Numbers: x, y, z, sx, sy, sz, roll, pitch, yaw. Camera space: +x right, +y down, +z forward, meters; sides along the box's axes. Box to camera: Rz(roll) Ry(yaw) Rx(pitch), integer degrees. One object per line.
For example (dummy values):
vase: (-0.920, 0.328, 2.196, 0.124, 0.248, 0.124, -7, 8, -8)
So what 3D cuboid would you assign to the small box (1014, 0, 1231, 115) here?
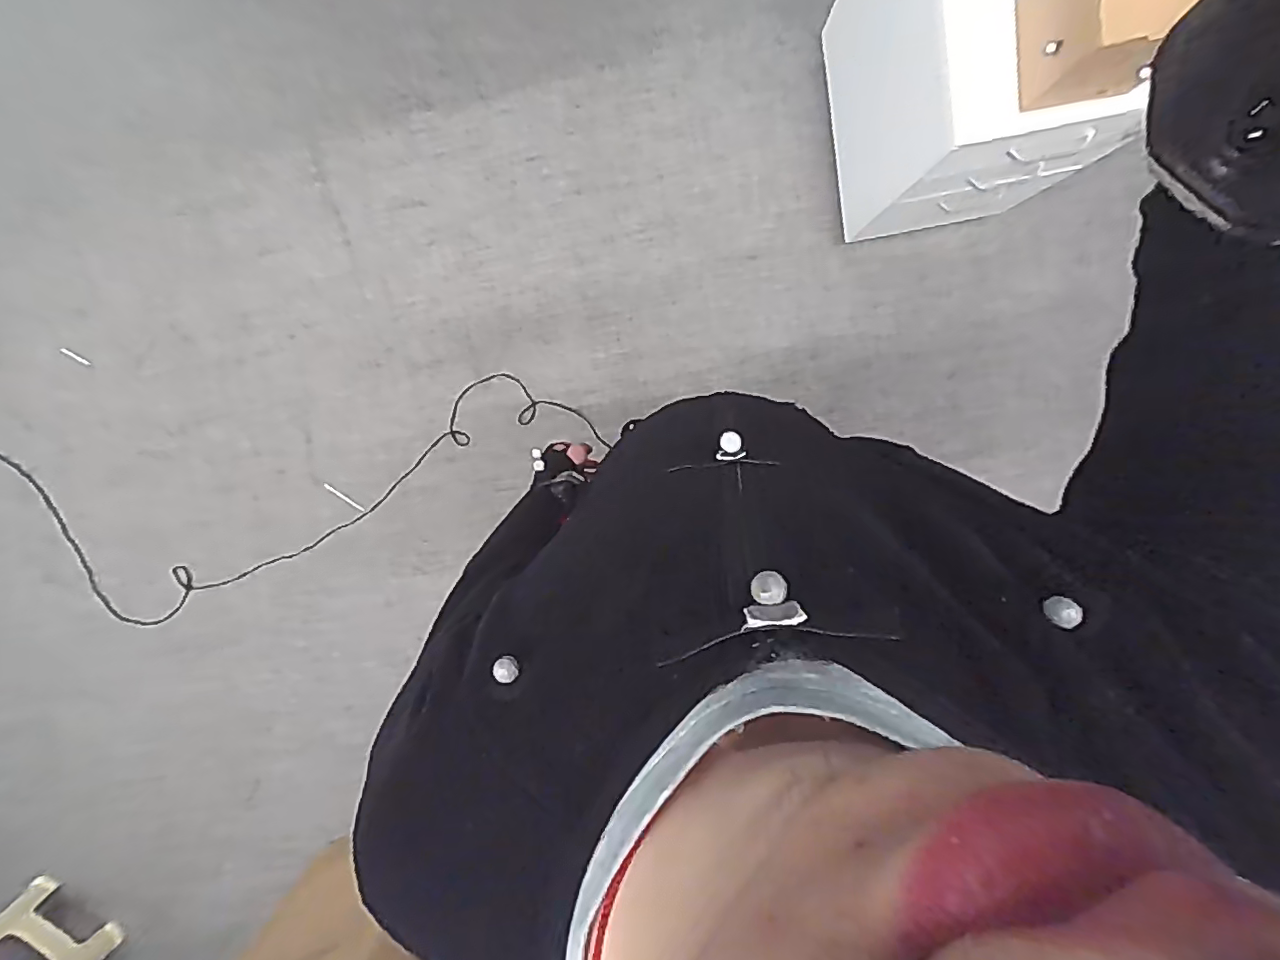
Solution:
small box: (0.668, -0.653, 0.767, 0.168, 0.176, 0.179, -8, 97, 2)
